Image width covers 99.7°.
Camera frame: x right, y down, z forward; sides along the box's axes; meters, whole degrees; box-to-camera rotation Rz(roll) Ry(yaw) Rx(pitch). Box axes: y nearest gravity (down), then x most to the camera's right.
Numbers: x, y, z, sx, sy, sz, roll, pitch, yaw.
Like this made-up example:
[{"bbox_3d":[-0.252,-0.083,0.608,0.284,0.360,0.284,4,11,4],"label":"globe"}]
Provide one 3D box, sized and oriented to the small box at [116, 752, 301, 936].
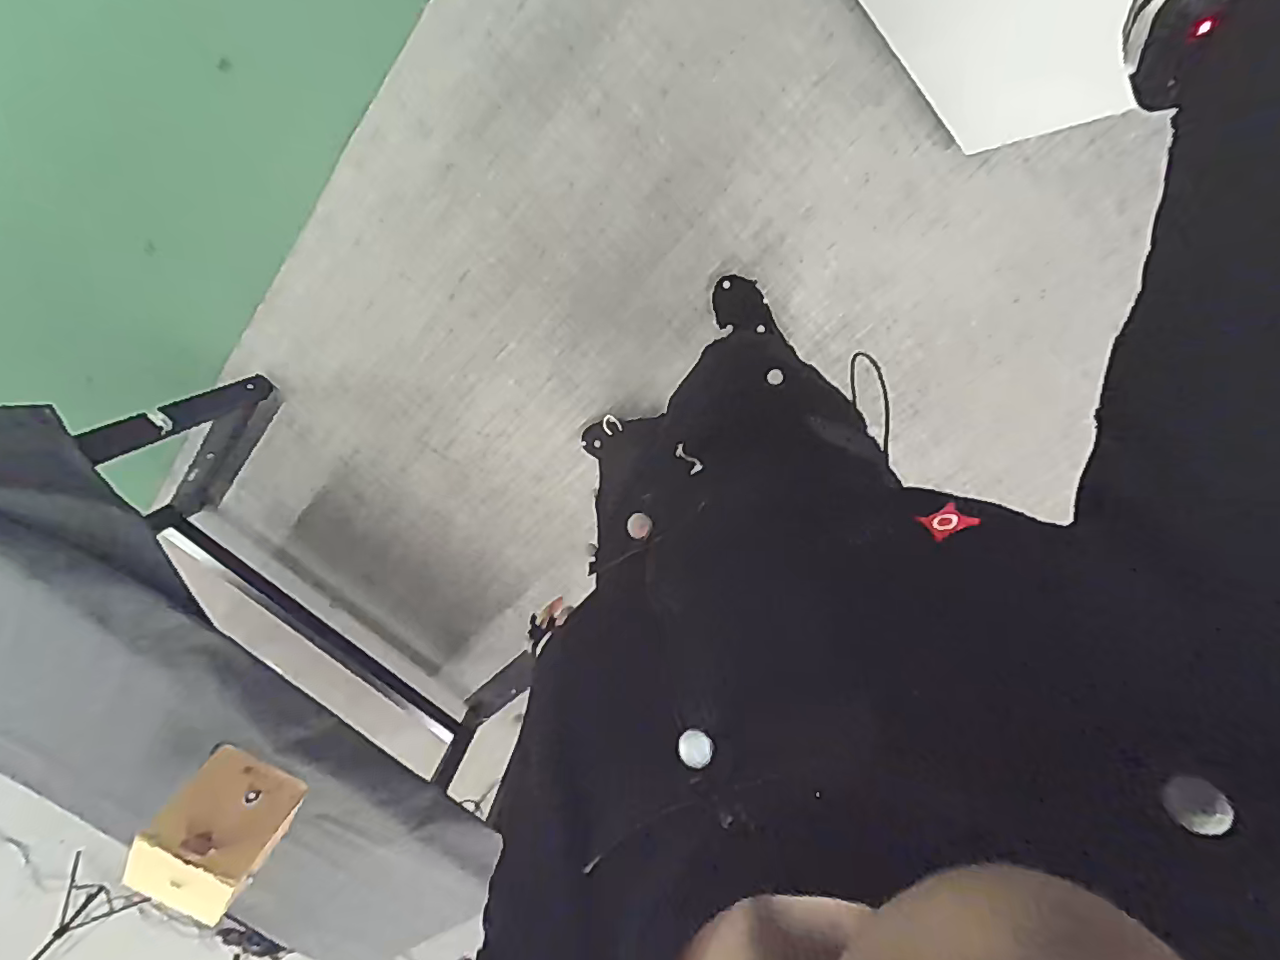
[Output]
[{"bbox_3d":[-0.711,0.602,0.906,0.168,0.176,0.179,33,115,-7],"label":"small box"}]
